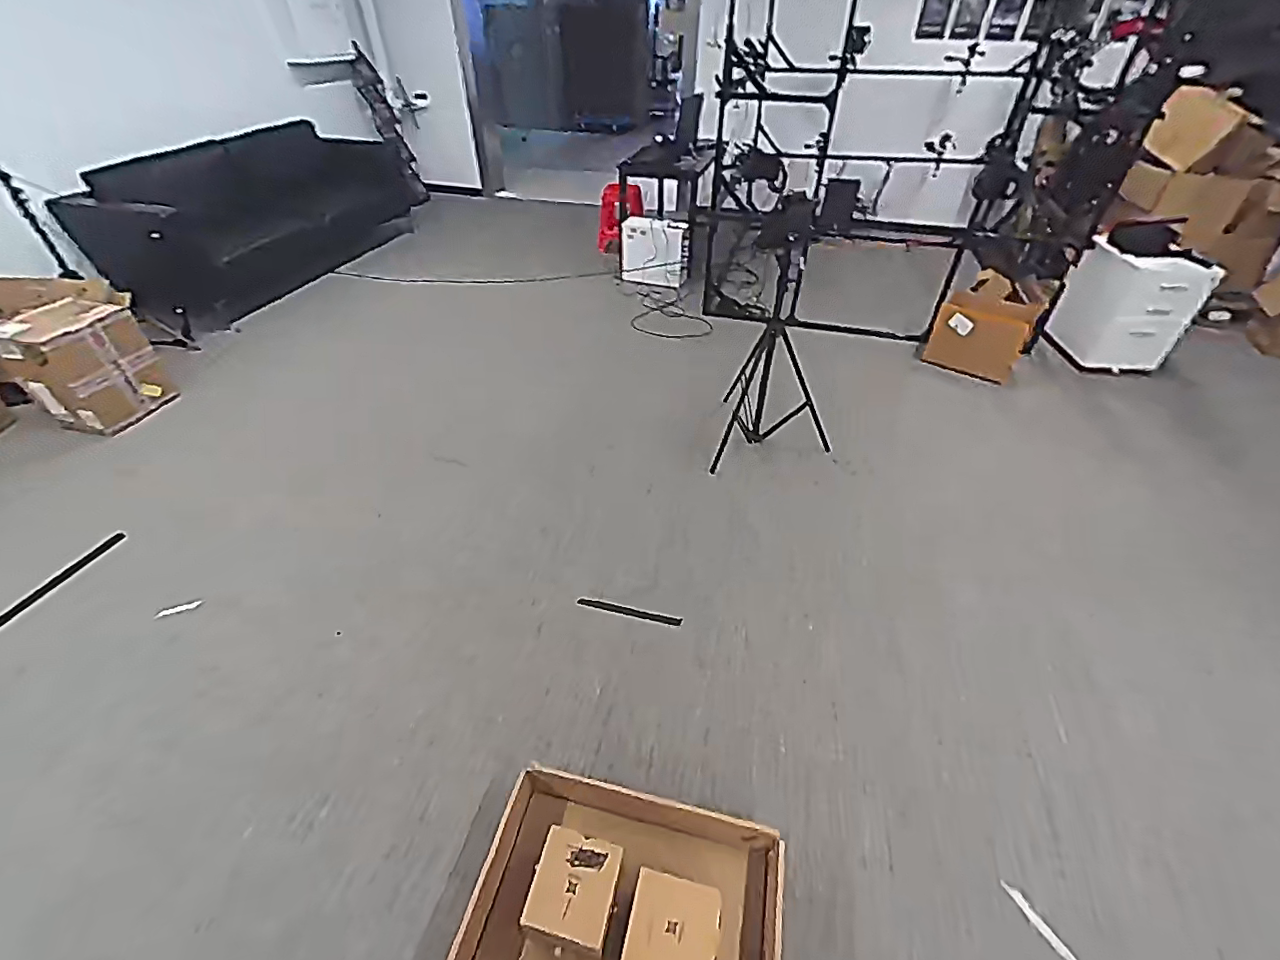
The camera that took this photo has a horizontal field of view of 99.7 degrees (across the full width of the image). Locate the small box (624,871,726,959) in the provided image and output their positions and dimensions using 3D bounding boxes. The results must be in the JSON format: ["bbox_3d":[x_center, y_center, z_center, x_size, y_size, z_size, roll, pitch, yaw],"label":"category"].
[{"bbox_3d":[0.071,0.931,1.091,0.179,0.176,0.168,8,40,12],"label":"small box"}]
